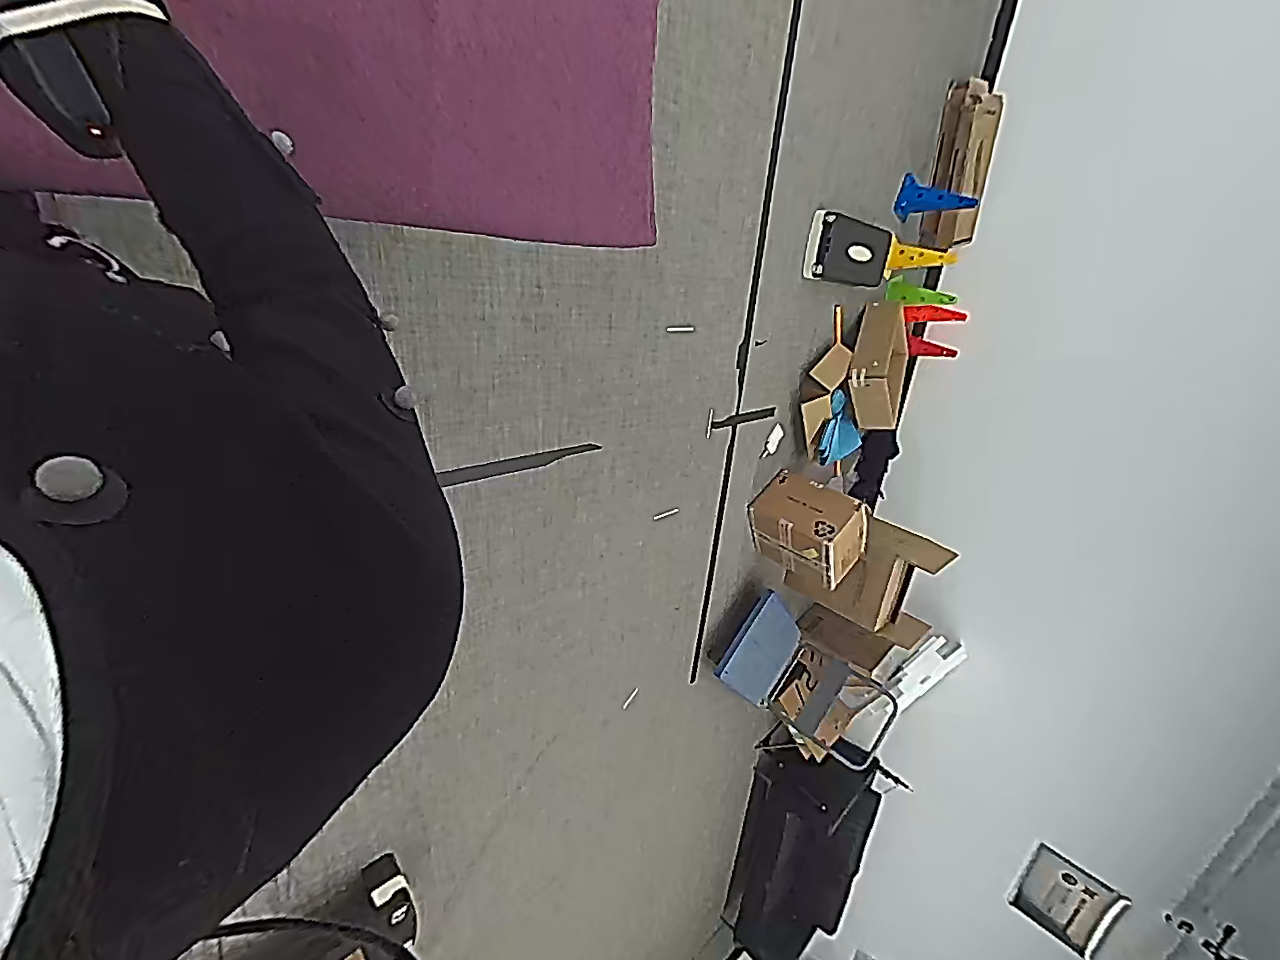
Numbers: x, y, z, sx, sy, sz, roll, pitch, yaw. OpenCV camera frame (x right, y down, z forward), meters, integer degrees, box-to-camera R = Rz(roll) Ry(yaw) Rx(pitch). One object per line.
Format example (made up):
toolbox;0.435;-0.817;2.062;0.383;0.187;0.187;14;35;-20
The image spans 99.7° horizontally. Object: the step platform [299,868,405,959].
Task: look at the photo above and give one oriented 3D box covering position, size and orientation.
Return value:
step platform;-1.093;1.572;1.670;0.684;0.204;0.286;-18;122;-43
